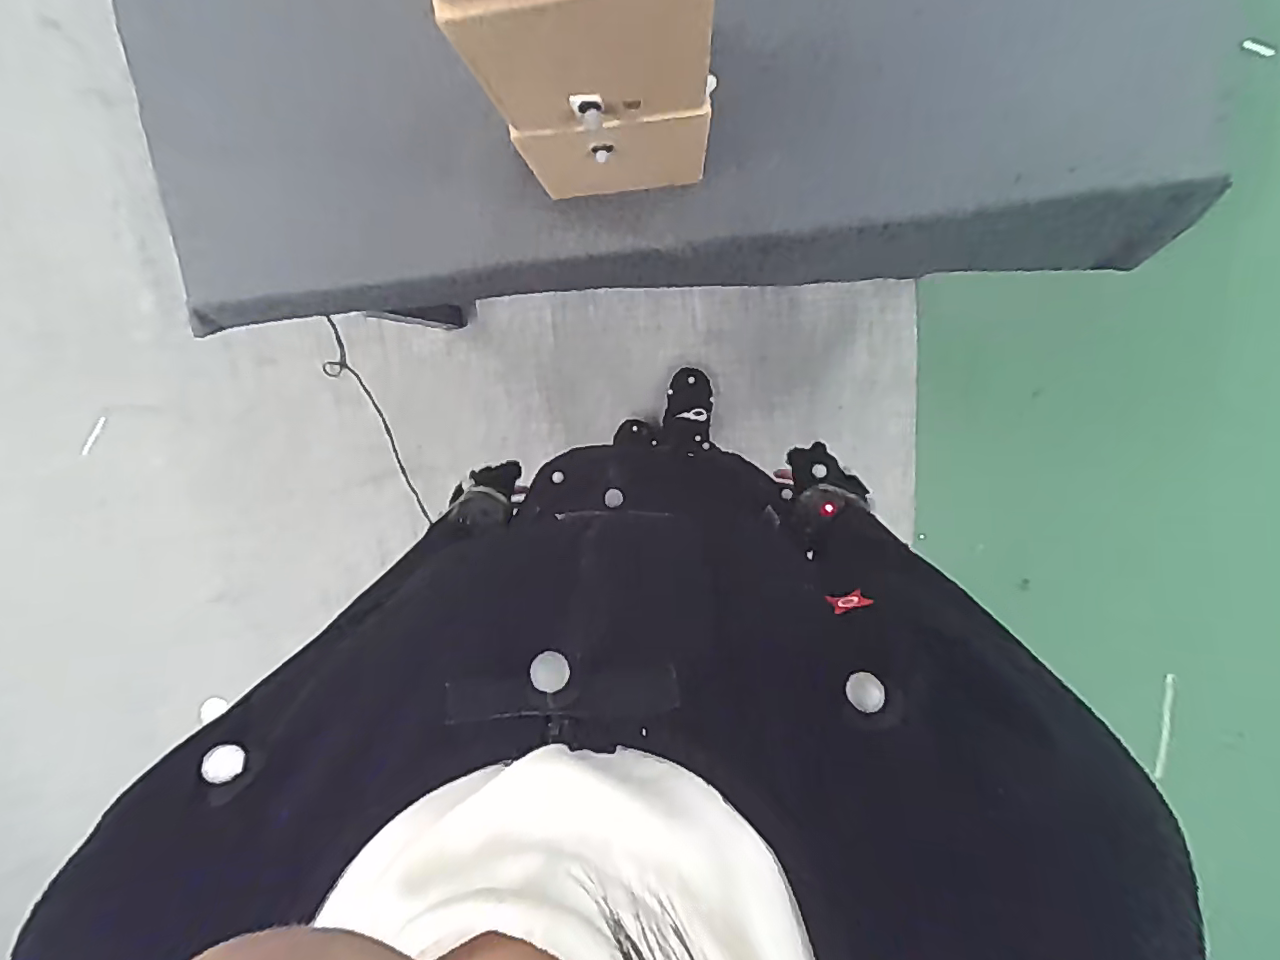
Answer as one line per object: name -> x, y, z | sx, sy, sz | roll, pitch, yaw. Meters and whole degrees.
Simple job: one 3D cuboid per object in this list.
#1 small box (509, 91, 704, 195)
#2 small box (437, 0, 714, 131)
small box -> -0.030, -0.407, 0.547 | 0.179, 0.176, 0.168 | -4, 102, 4
small box -> -0.041, -0.379, 0.371 | 0.168, 0.176, 0.179 | -6, 102, 6
